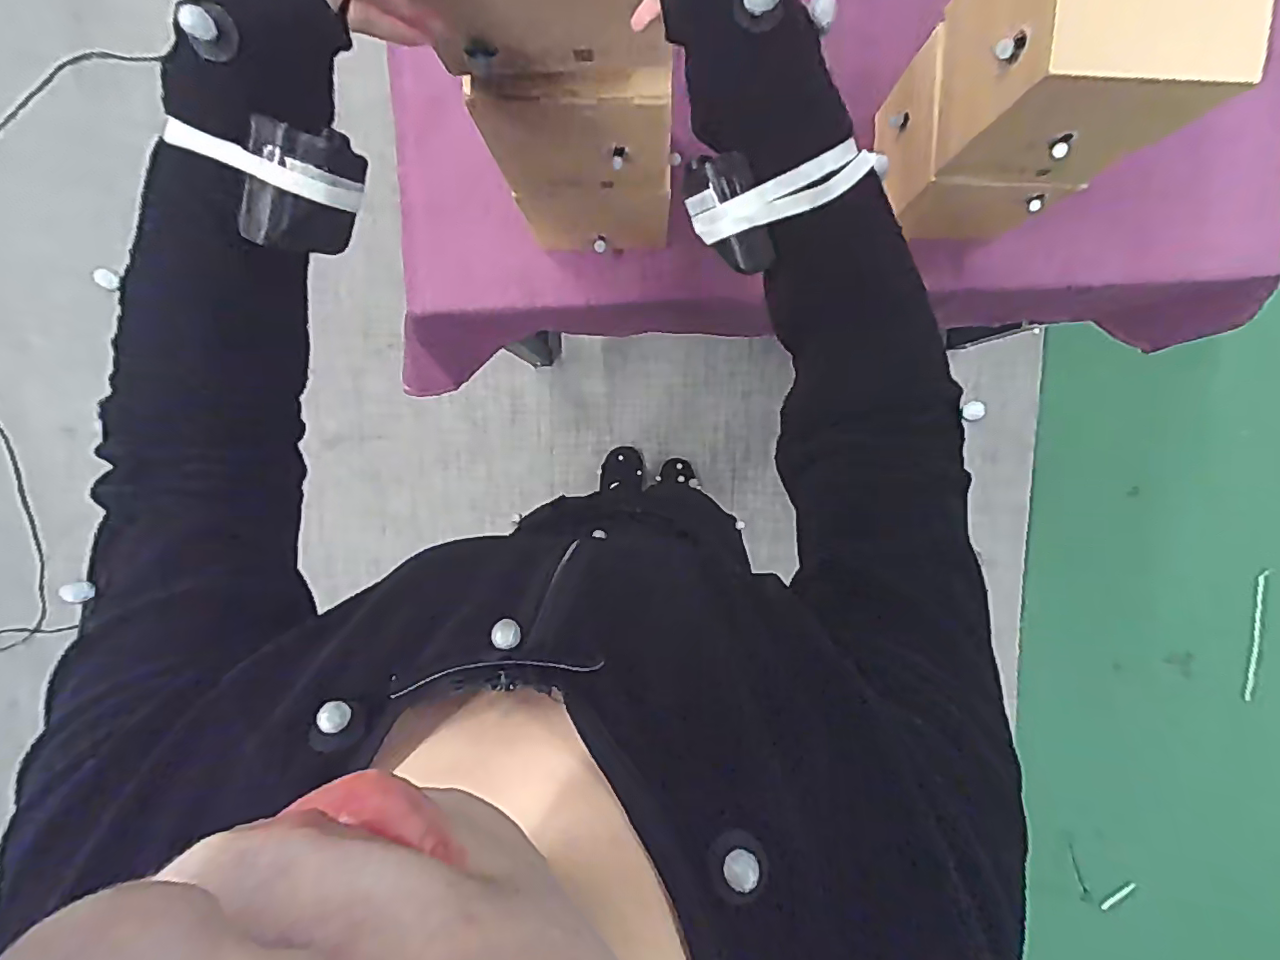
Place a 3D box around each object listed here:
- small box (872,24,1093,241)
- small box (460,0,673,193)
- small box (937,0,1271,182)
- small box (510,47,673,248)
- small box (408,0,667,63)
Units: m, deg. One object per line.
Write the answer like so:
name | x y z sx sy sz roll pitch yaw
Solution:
small box | 0.399 -0.402 0.652 0.179 0.176 0.168 1 94 0
small box | -0.055 -0.388 0.496 0.168 0.176 0.179 2 94 0
small box | 0.396 -0.395 0.487 0.168 0.176 0.179 3 94 0
small box | -0.053 -0.395 0.660 0.179 0.176 0.168 0 94 0
small box | -0.067 -0.374 0.307 0.168 0.176 0.179 0 98 3
